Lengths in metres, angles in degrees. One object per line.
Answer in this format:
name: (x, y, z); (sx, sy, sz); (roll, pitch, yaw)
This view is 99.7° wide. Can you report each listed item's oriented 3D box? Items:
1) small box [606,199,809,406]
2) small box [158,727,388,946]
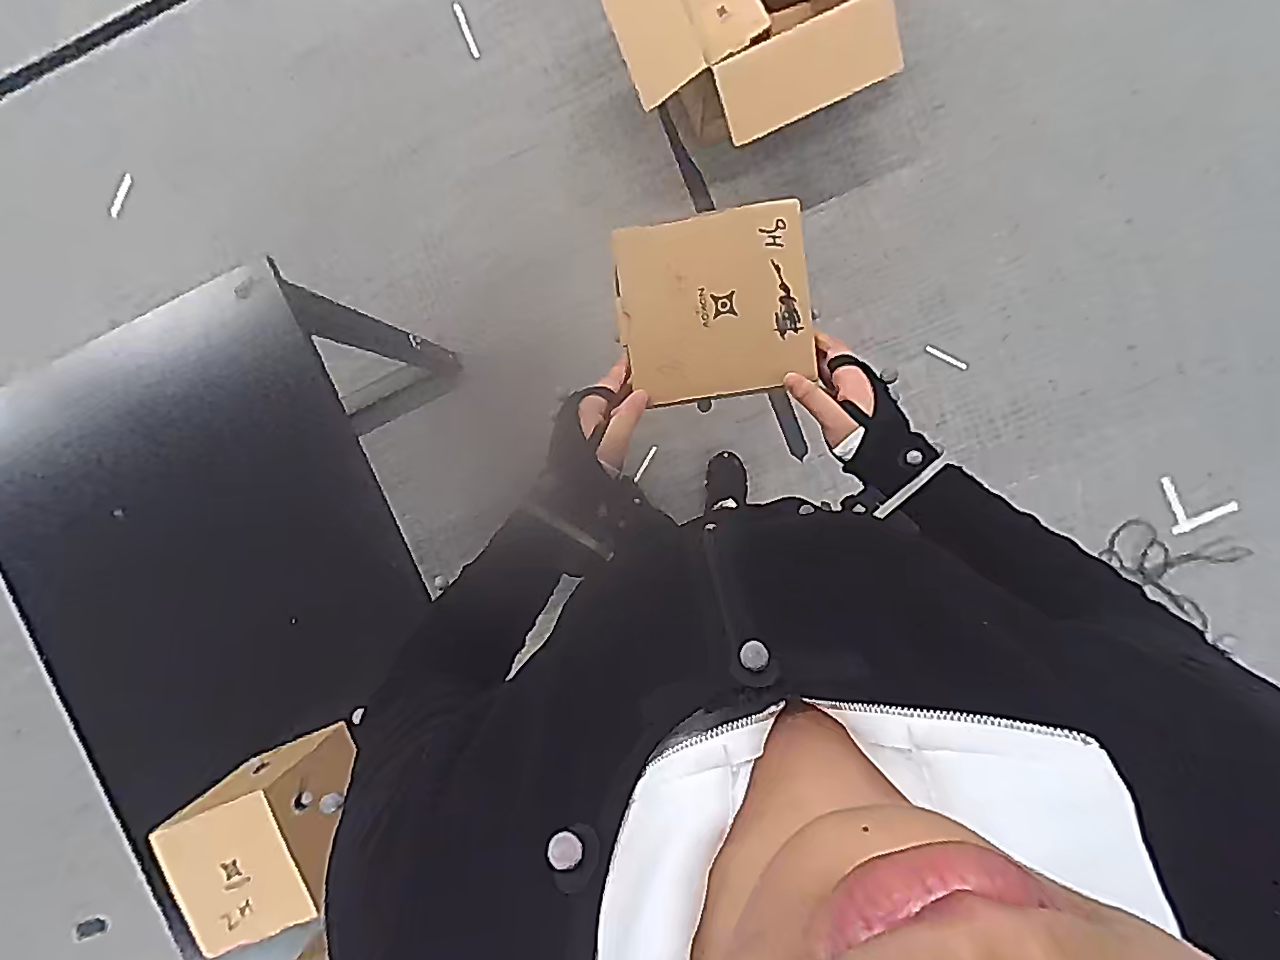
small box: (0.069, -0.173, 0.583); (0.179, 0.176, 0.168); (-8, 96, 4)
small box: (-0.494, 0.476, 0.755); (0.168, 0.176, 0.179); (-24, 92, 5)
